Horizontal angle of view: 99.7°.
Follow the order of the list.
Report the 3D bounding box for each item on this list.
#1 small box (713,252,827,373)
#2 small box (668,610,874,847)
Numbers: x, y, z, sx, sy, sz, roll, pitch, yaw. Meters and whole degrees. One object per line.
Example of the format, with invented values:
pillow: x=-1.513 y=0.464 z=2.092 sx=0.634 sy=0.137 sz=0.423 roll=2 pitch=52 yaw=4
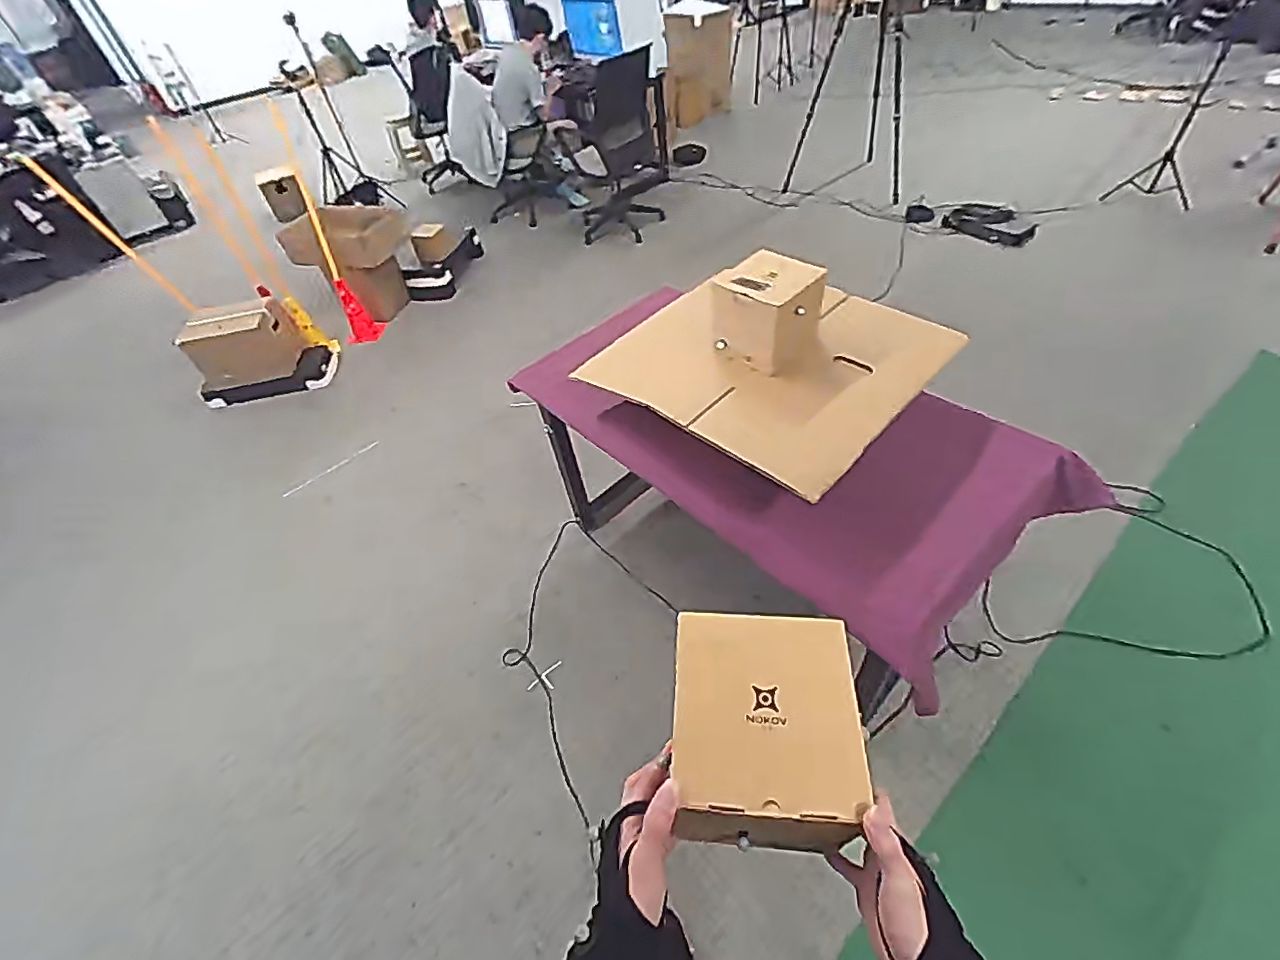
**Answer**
small box: x=0.276 y=-0.359 z=1.167 sx=0.168 sy=0.176 sz=0.179 roll=34 pitch=60 yaw=31
small box: x=0.115 y=0.252 z=0.549 sx=0.168 sy=0.176 sz=0.179 roll=1 pitch=50 yaw=5
